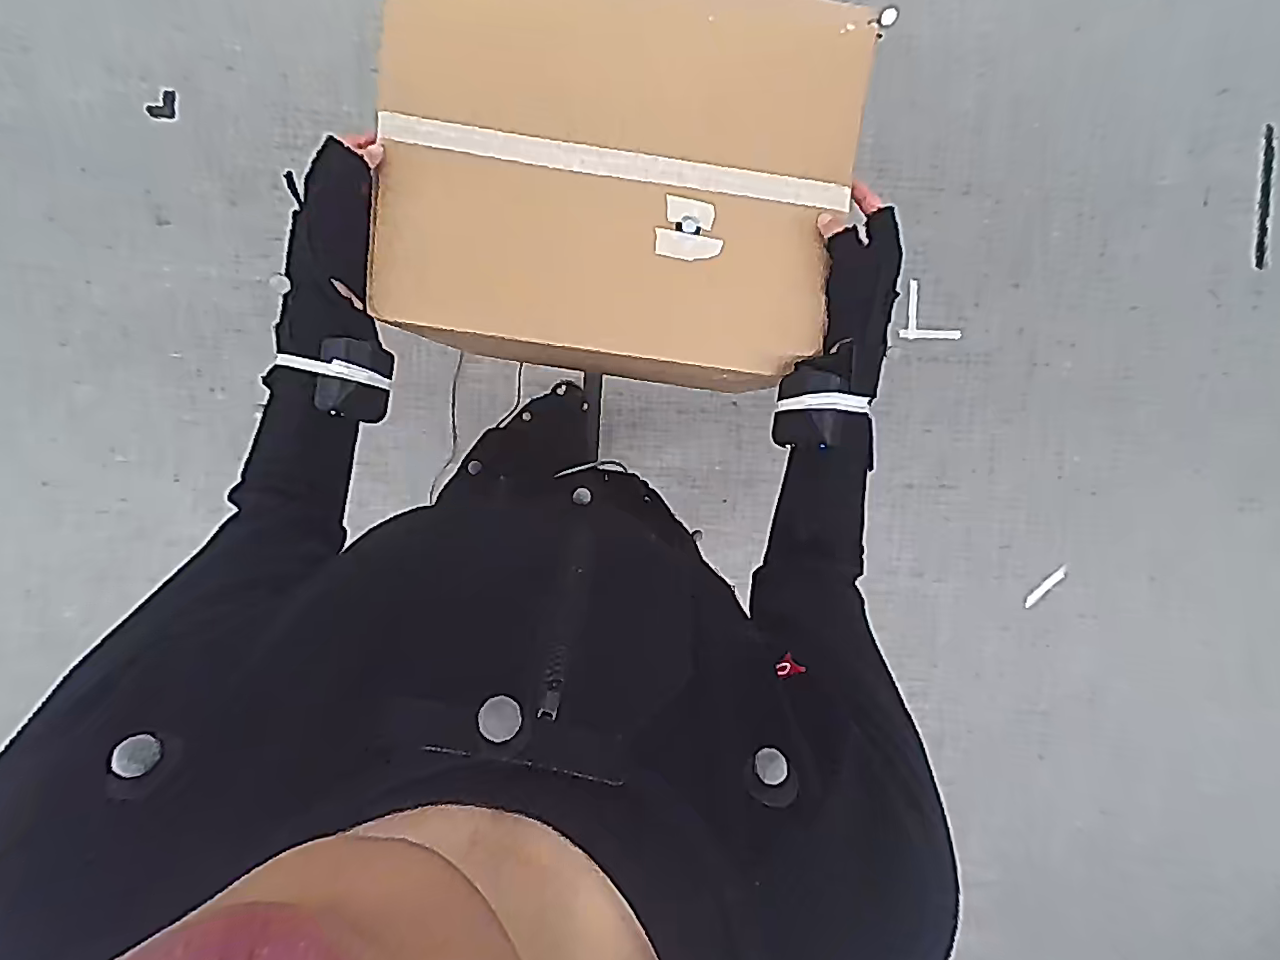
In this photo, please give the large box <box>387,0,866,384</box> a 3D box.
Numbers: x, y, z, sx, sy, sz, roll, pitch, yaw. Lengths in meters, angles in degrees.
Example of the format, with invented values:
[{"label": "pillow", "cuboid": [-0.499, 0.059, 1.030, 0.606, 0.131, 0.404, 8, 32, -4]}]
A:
[{"label": "large box", "cuboid": [-0.023, -0.297, 0.627, 0.408, 0.320, 0.320, 8, 98, -4]}]
